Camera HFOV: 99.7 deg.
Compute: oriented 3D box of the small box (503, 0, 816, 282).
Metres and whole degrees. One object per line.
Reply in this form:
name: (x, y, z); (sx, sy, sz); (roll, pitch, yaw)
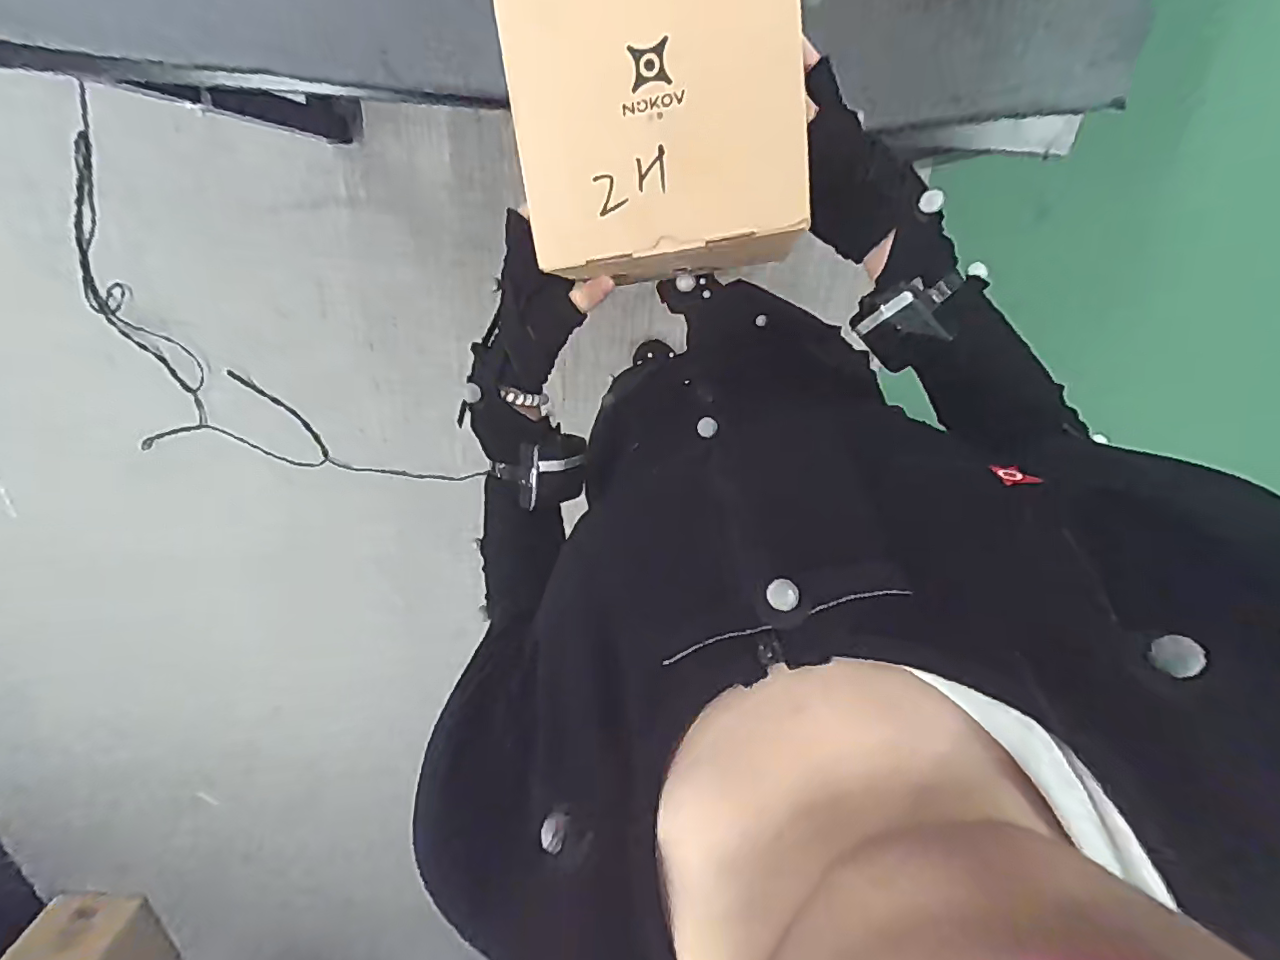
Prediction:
small box: (0.022, -0.246, 0.372); (0.168, 0.176, 0.179); (-4, 104, 12)
